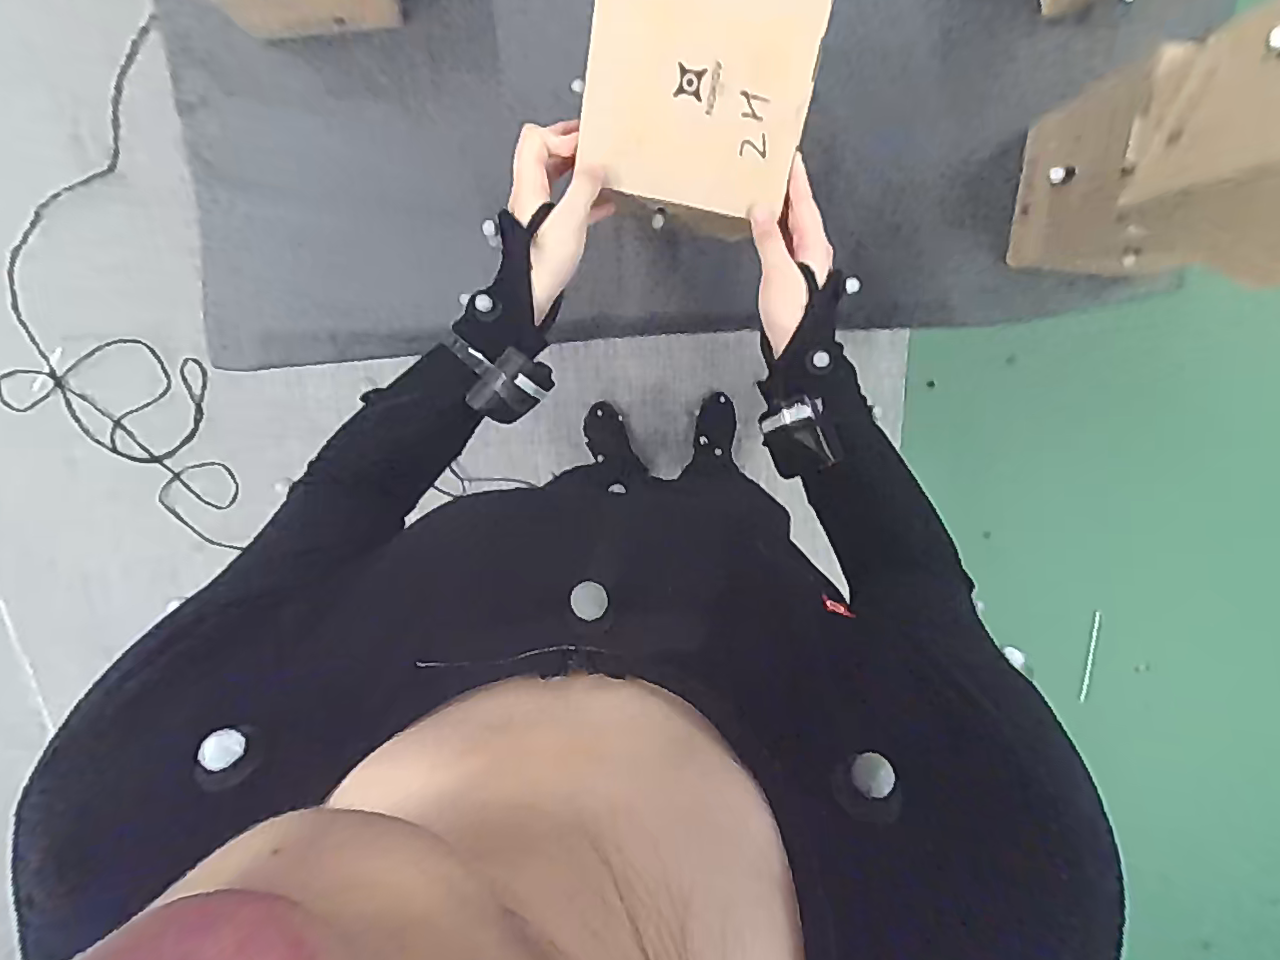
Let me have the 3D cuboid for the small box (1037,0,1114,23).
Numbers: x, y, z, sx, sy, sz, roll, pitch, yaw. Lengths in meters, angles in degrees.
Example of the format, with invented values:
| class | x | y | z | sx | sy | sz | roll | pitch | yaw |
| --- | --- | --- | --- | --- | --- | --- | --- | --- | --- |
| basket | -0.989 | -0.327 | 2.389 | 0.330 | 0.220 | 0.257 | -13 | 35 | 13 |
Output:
| class | x | y | z | sx | sy | sz | roll | pitch | yaw |
| --- | --- | --- | --- | --- | --- | --- | --- | --- | --- |
| small box | 0.511 | -0.606 | 0.521 | 0.168 | 0.176 | 0.179 | -19 | 106 | 5 |

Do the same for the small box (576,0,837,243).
| class | x | y | z | sx | sy | sz | roll | pitch | yaw |
| --- | --- | --- | --- | --- | --- | --- | --- | --- | --- |
| small box | 0.043 | -0.320 | 0.492 | 0.179 | 0.176 | 0.168 | 9 | 110 | -7 |

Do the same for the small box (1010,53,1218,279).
| class | x | y | z | sx | sy | sz | roll | pitch | yaw |
| --- | --- | --- | --- | --- | --- | --- | --- | --- | --- |
| small box | 0.550 | -0.323 | 0.590 | 0.179 | 0.176 | 0.168 | 3 | 101 | -2 |

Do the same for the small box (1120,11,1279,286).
| class | x | y | z | sx | sy | sz | roll | pitch | yaw |
| --- | --- | --- | --- | --- | --- | --- | --- | --- | --- |
| small box | 0.560 | -0.274 | 0.434 | 0.179 | 0.176 | 0.168 | 23 | 99 | -7 |
